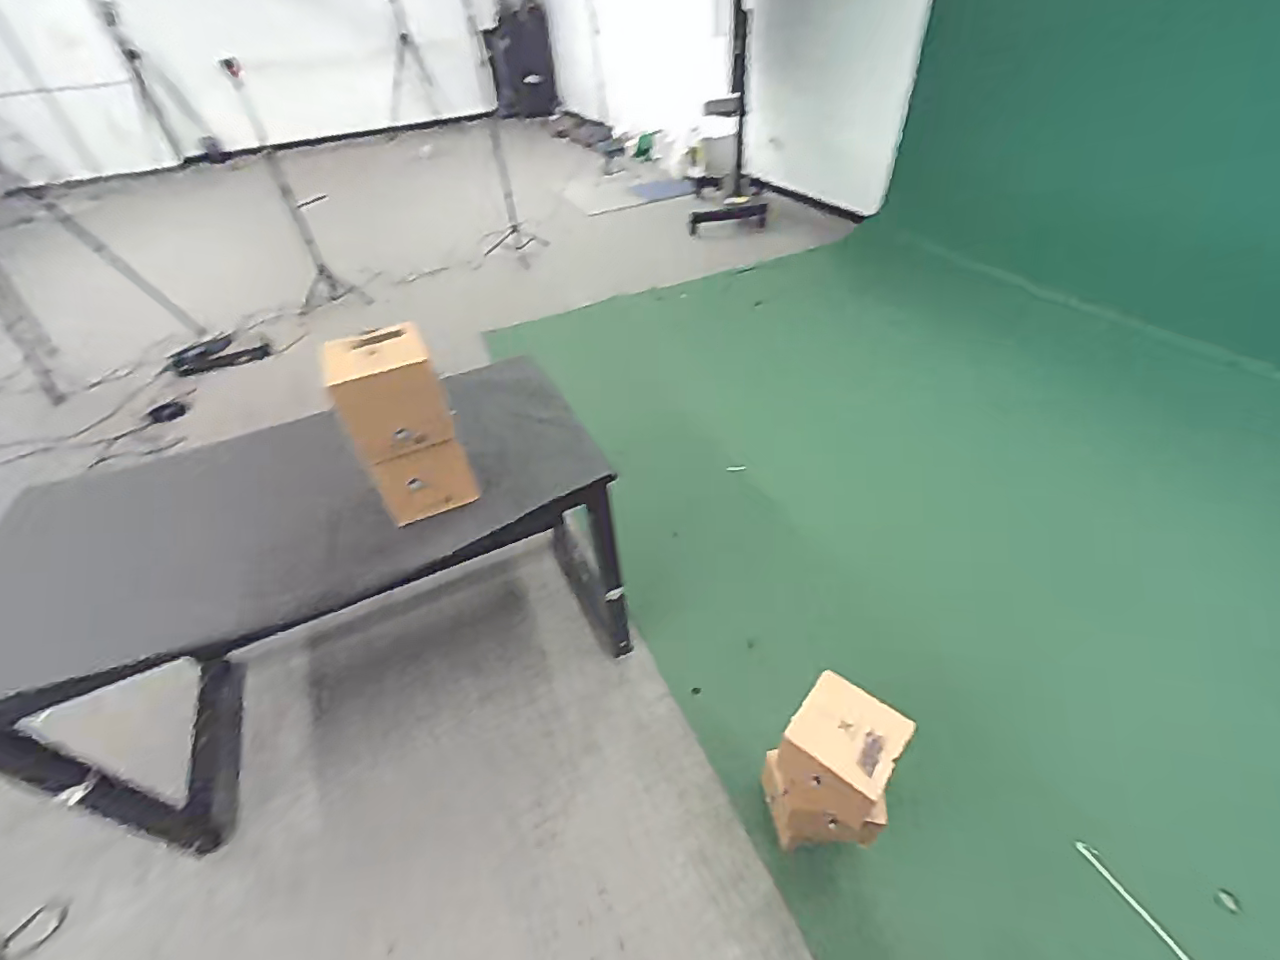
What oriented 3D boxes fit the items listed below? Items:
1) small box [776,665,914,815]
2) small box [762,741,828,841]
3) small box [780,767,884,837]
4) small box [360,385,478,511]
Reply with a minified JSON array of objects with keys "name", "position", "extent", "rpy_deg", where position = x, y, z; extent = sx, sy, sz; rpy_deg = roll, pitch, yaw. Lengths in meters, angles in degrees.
[{"name":"small box","position":[0.377,0.496,1.021],"extent":[0.179,0.176,0.168],"rpy_deg":[29,54,31]},{"name":"small box","position":[0.392,0.717,1.262],"extent":[0.179,0.176,0.168],"rpy_deg":[-9,44,-4]},{"name":"small box","position":[0.391,0.620,1.128],"extent":[0.179,0.176,0.168],"rpy_deg":[6,46,10]},{"name":"small box","position":[-0.442,-0.059,1.090],"extent":[0.168,0.176,0.179],"rpy_deg":[-21,44,-16]}]
